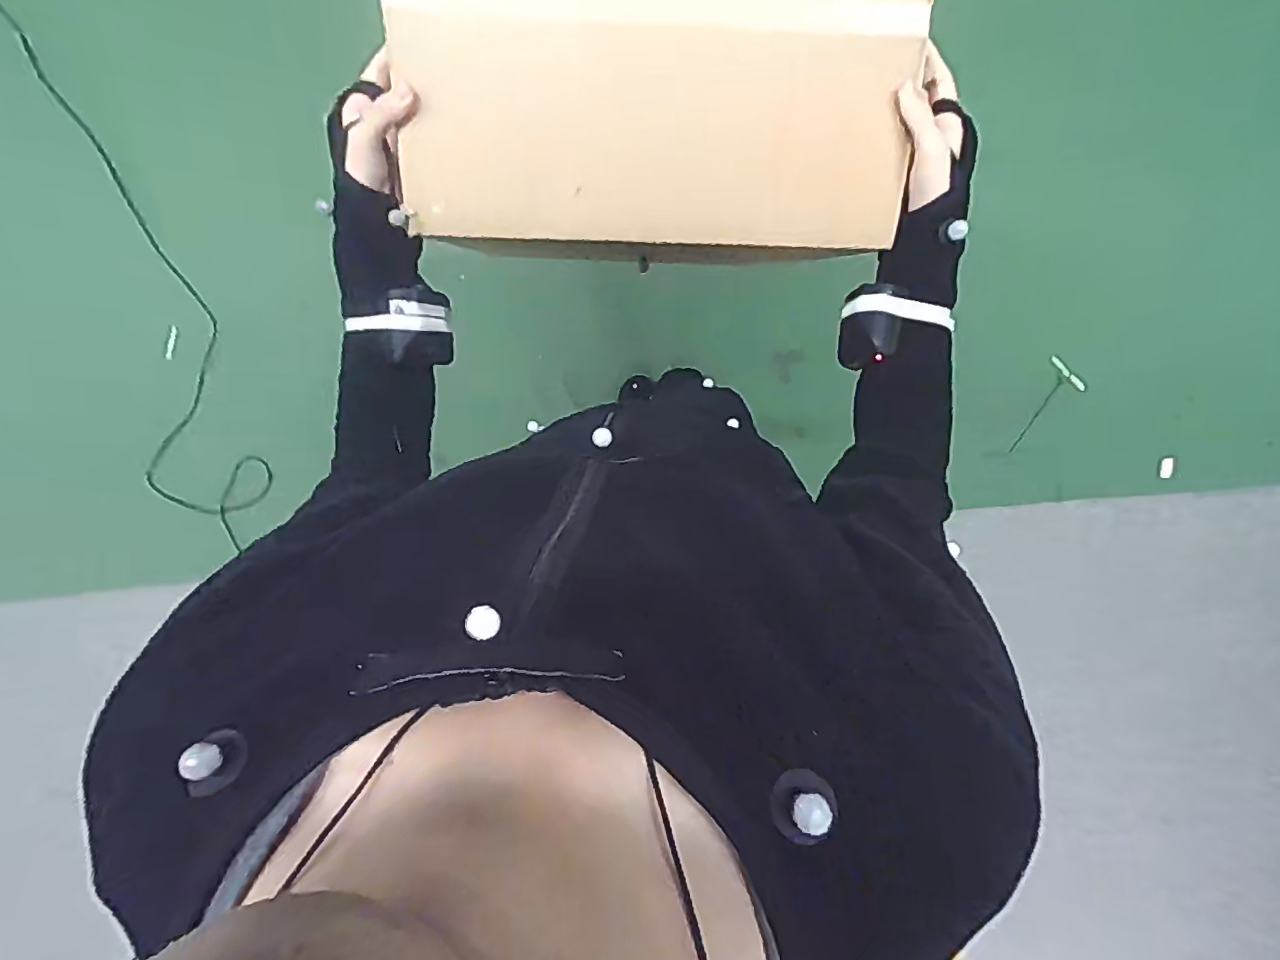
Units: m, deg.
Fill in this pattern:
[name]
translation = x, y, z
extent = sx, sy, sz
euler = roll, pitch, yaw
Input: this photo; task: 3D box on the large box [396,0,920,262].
[large box]
translation = 0.010, -0.394, 0.554
extent = 0.408, 0.320, 0.320
euler = 0, 109, -3
